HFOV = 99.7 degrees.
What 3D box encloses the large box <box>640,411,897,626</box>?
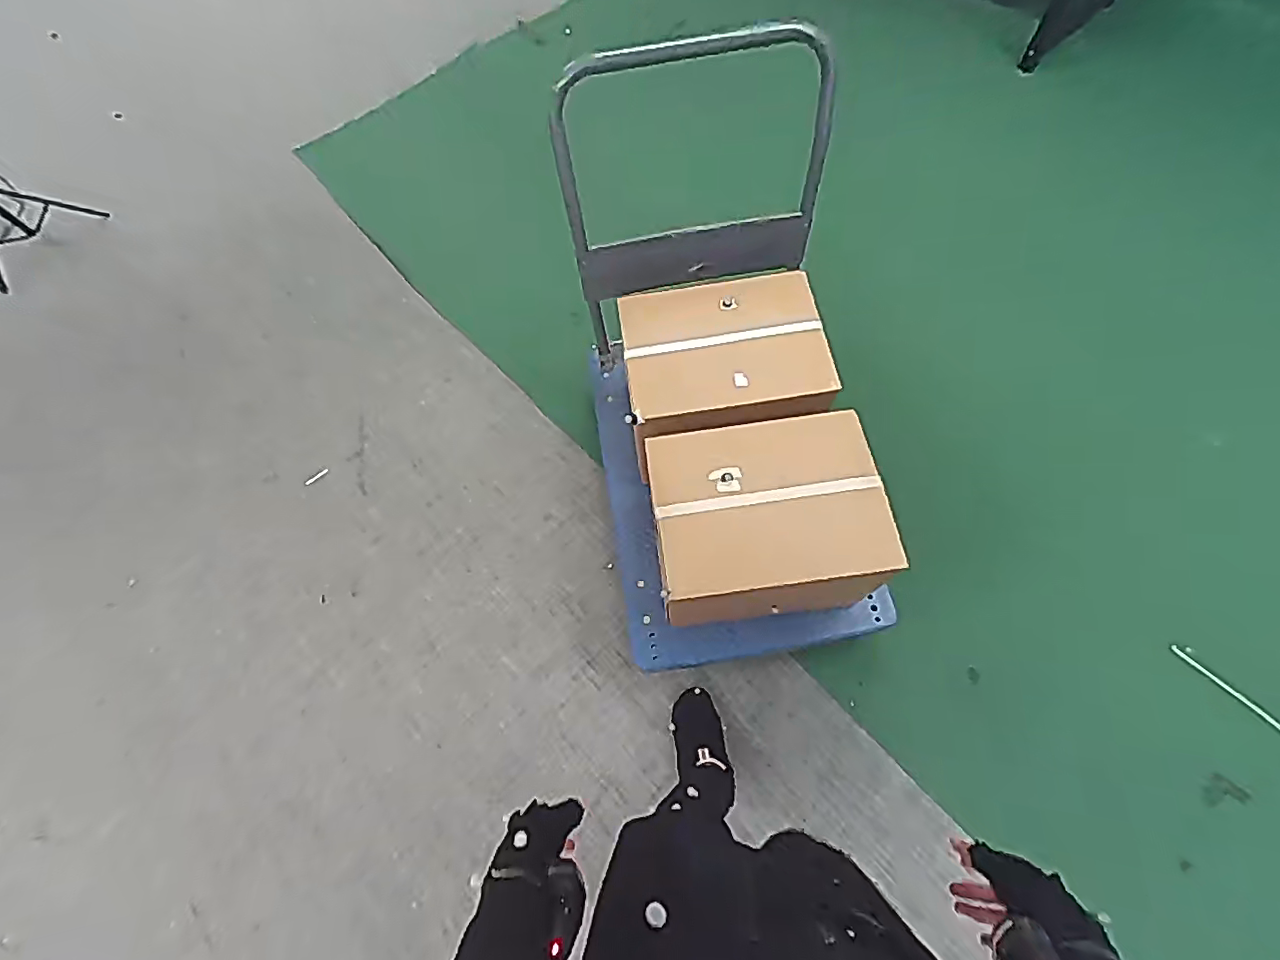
[{"bbox_3d":[0.227,0.096,1.092,0.408,0.320,0.320,-8,66,2],"label":"large box"}]
